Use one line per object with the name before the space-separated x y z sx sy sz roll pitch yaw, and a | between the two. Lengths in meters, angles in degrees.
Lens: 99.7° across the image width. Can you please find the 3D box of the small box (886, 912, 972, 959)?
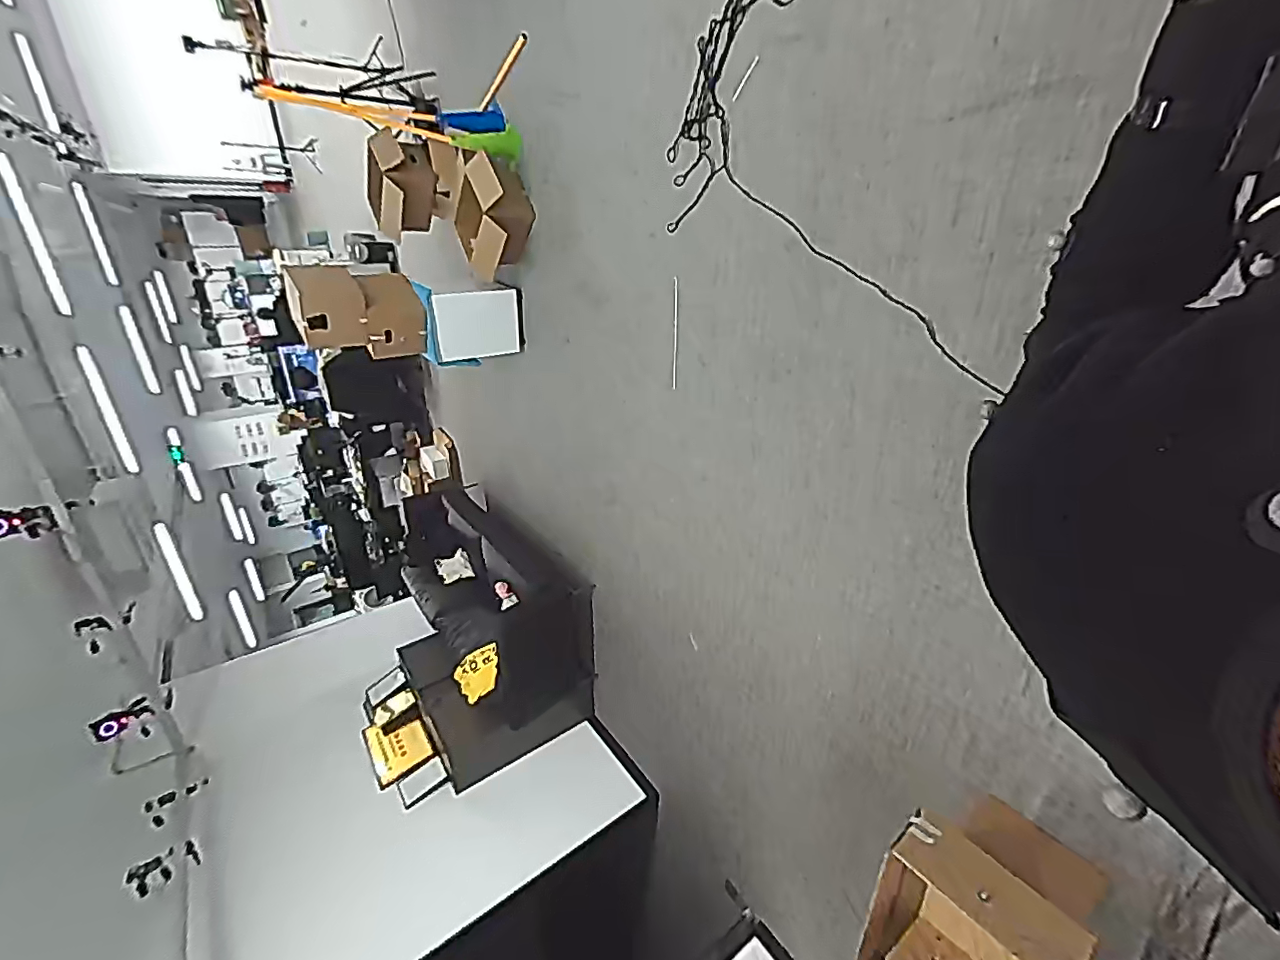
small box | 0.754 1.297 1.411 0.168 0.176 0.179 24 120 50
